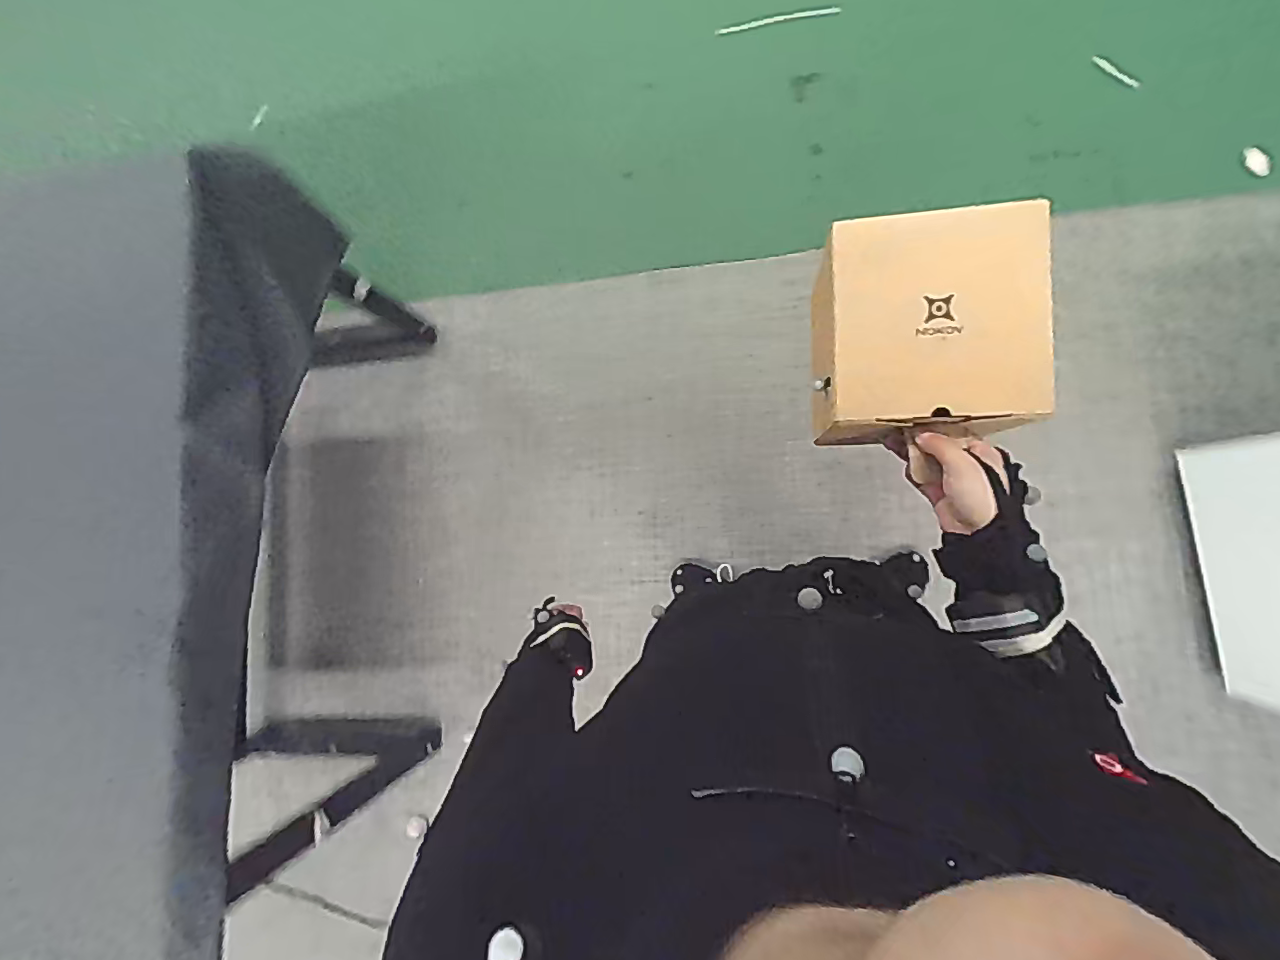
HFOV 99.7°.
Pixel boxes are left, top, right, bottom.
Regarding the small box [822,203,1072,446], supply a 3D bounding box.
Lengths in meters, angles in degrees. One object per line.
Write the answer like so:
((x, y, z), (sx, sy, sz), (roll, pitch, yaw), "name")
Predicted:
((0.270, -0.129, 0.516), (0.168, 0.176, 0.179), (0, 88, 11), "small box")
